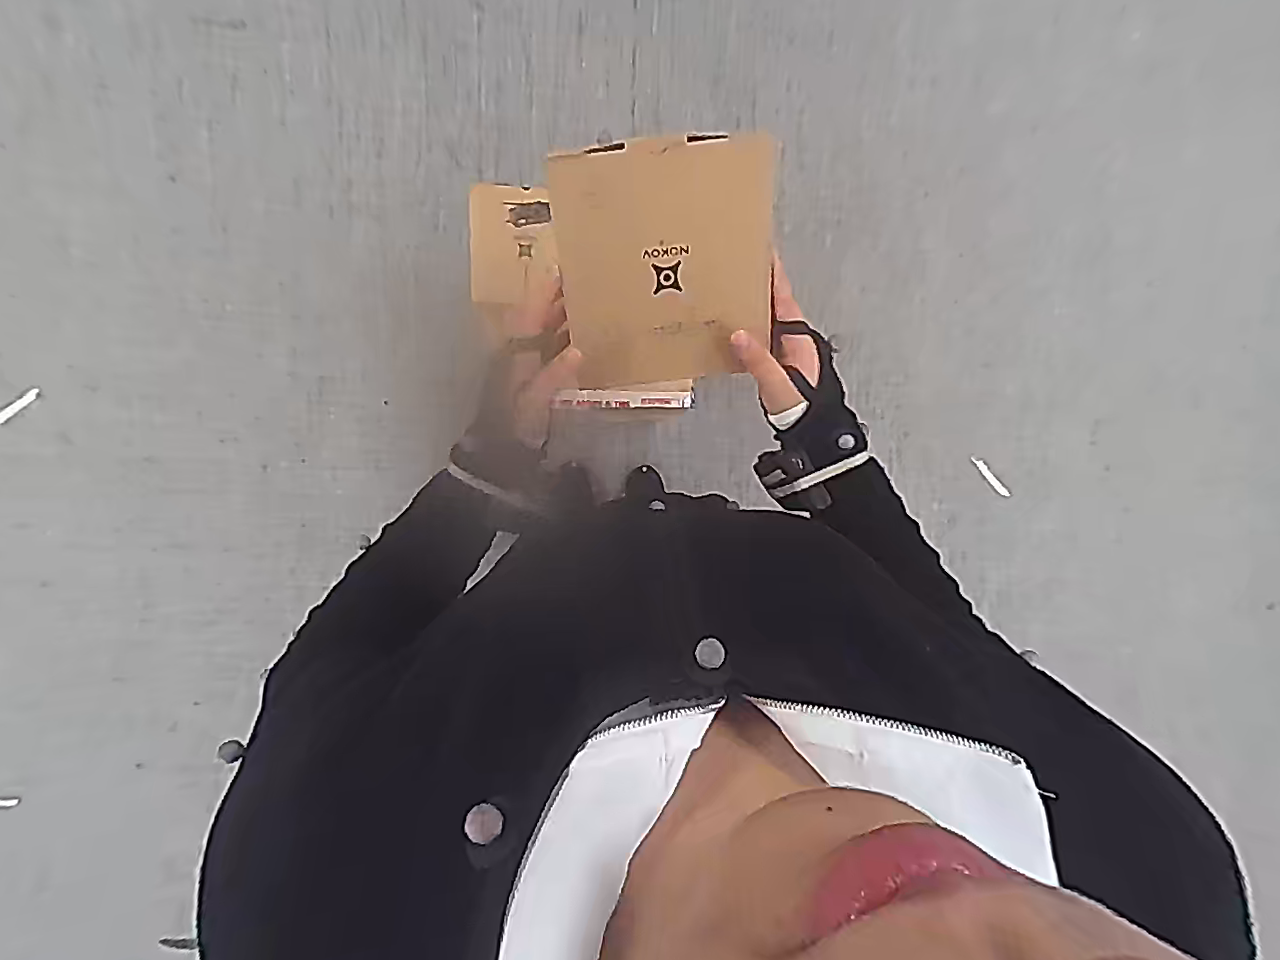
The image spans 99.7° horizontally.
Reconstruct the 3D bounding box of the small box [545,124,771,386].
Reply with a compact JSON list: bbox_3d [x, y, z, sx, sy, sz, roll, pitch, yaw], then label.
[{"bbox_3d":[0.017,-0.201,0.490,0.168,0.176,0.179,-7,118,1],"label":"small box"}]
